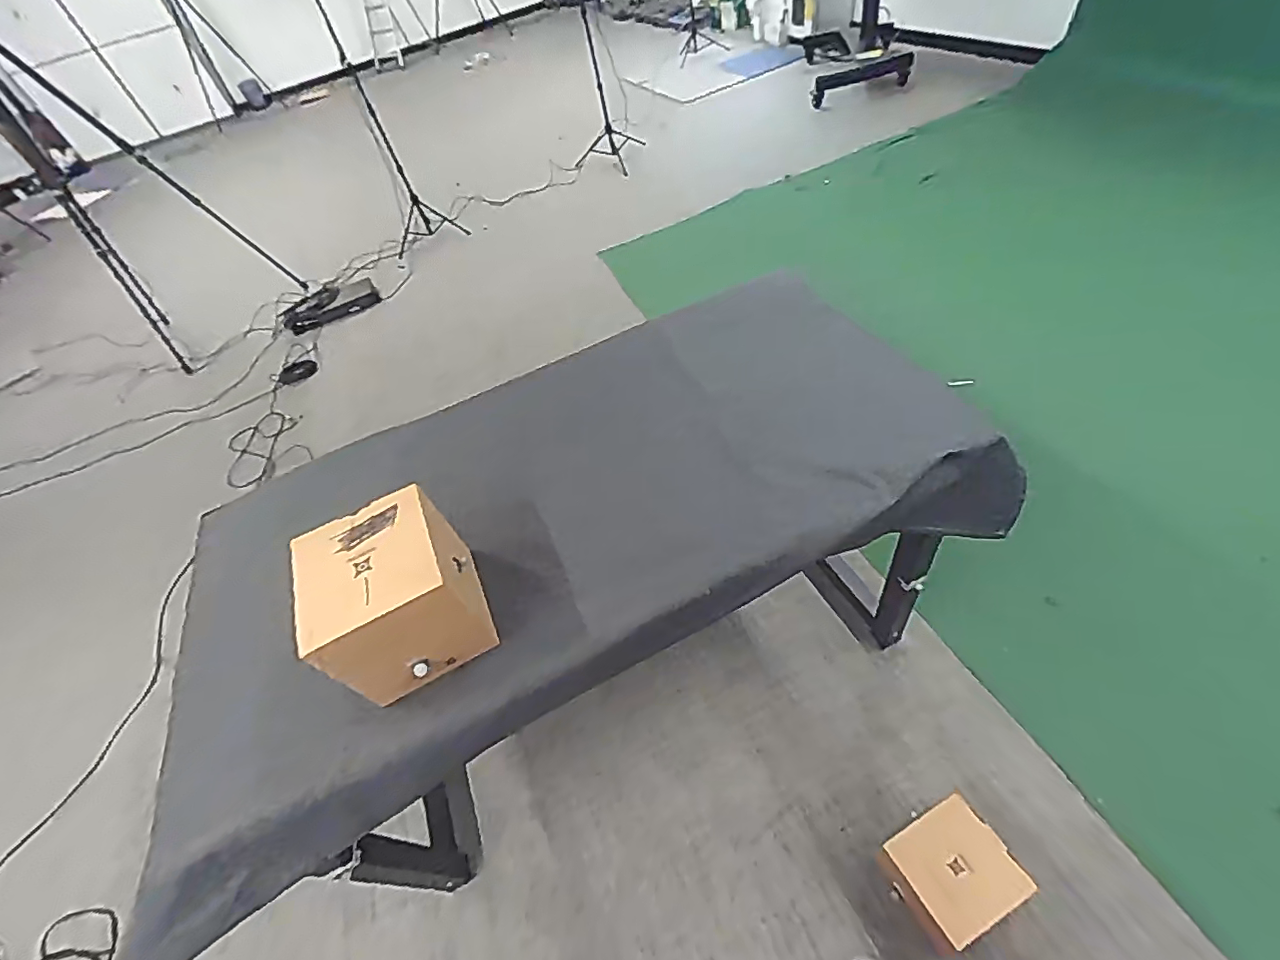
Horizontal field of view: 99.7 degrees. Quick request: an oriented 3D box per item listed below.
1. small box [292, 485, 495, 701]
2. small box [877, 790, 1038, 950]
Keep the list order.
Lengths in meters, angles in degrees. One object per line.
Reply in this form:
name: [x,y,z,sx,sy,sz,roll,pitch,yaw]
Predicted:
small box: [-0.309,0.145,0.689,0.168,0.176,0.179,-27,50,-9]
small box: [0.556,0.701,0.978,0.179,0.176,0.168,-29,49,-10]
